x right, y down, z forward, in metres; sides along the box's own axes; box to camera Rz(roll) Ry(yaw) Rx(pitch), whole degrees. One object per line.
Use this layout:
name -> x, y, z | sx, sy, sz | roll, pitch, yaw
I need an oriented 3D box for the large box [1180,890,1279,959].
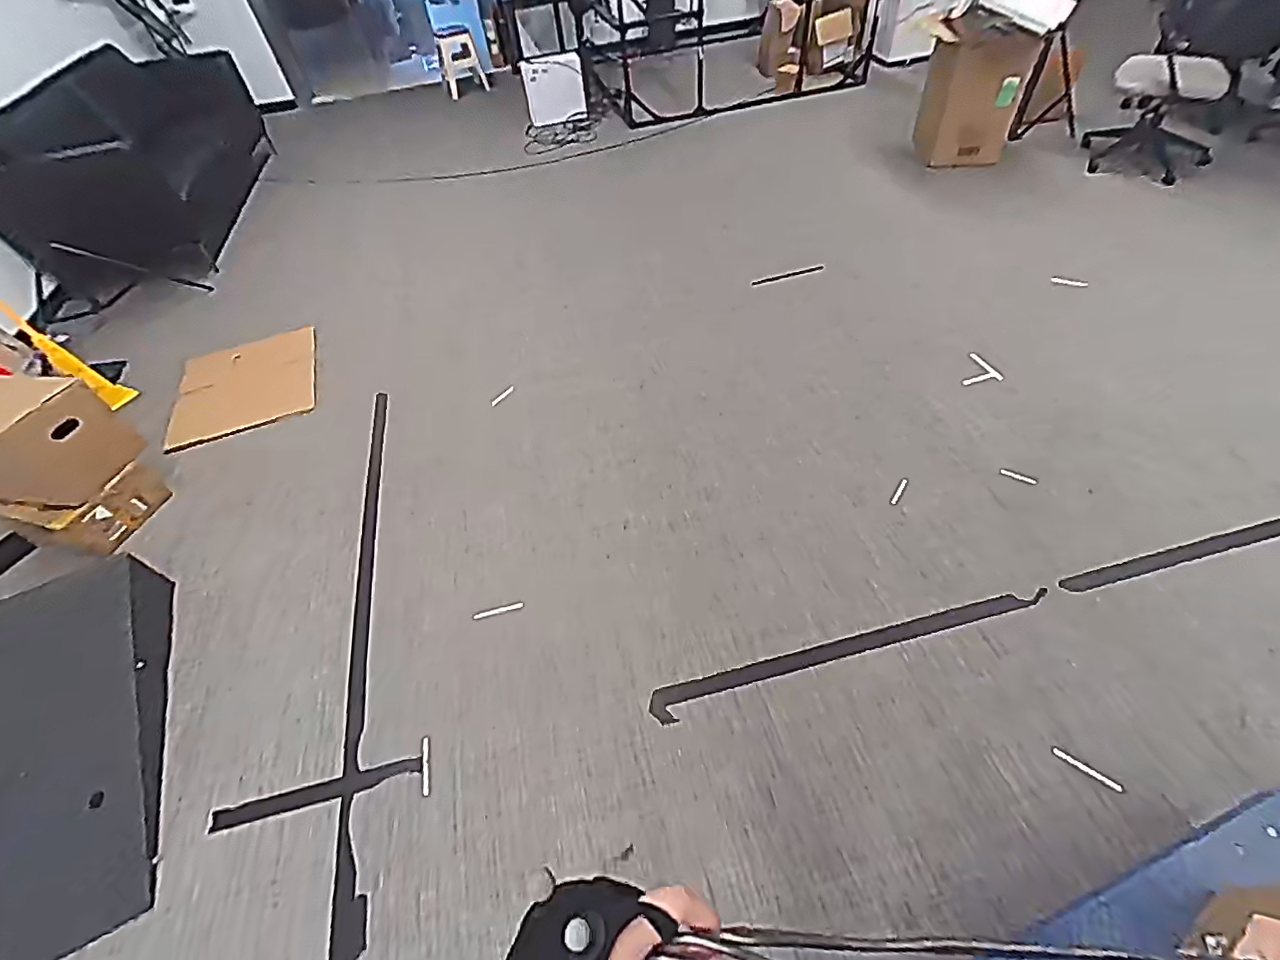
large box -> 1.008, 0.830, 0.689 | 0.320, 0.320, 0.408 | -33, 55, -19
